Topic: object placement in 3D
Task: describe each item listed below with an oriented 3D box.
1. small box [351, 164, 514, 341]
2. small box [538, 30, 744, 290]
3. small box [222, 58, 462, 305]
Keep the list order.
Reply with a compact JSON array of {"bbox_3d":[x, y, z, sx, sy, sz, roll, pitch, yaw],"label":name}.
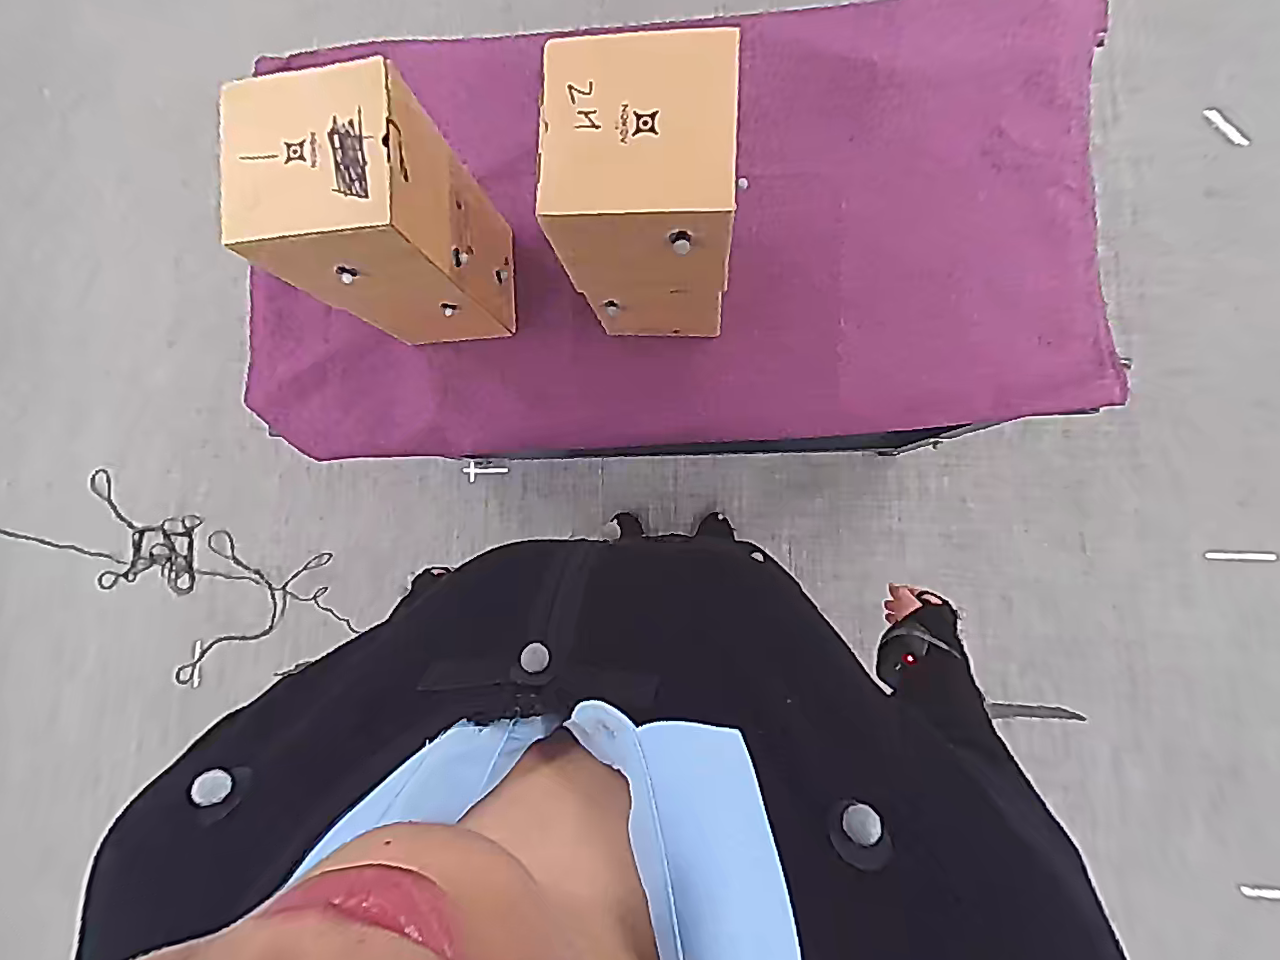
[{"bbox_3d":[-0.289,-0.302,0.755,0.179,0.176,0.168,-4,87,6],"label":"small box"},{"bbox_3d":[0.008,-0.306,0.552,0.179,0.176,0.168,2,86,7],"label":"small box"},{"bbox_3d":[-0.306,-0.306,0.591,0.179,0.176,0.168,-4,86,6],"label":"small box"}]
